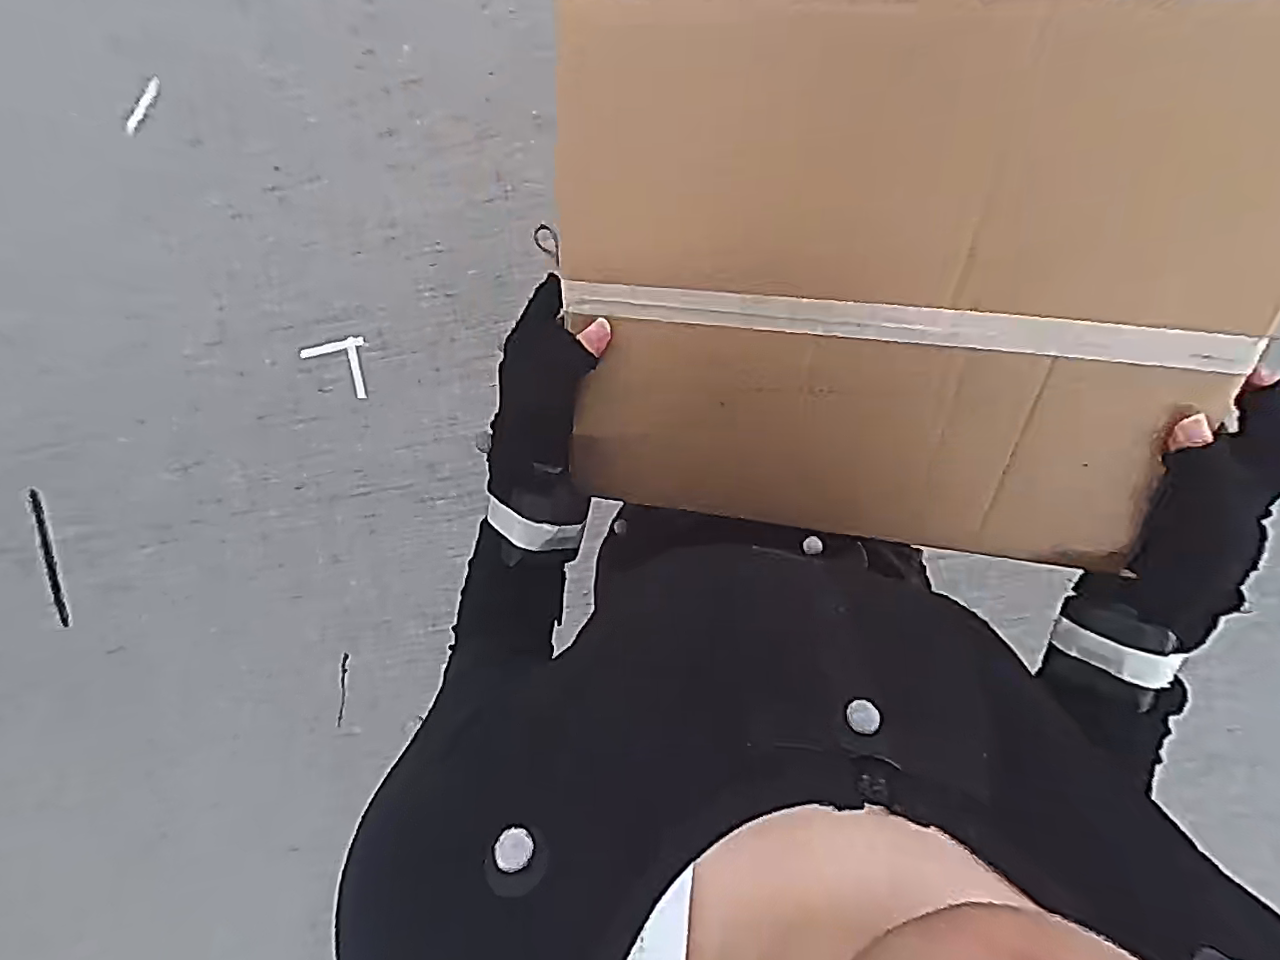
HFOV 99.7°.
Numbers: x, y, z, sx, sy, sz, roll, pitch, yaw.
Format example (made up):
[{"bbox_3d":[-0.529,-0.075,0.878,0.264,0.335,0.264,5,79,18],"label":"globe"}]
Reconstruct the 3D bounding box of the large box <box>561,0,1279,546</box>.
[{"bbox_3d":[0.171,-0.179,0.470,0.408,0.320,0.320,8,122,8],"label":"large box"}]
